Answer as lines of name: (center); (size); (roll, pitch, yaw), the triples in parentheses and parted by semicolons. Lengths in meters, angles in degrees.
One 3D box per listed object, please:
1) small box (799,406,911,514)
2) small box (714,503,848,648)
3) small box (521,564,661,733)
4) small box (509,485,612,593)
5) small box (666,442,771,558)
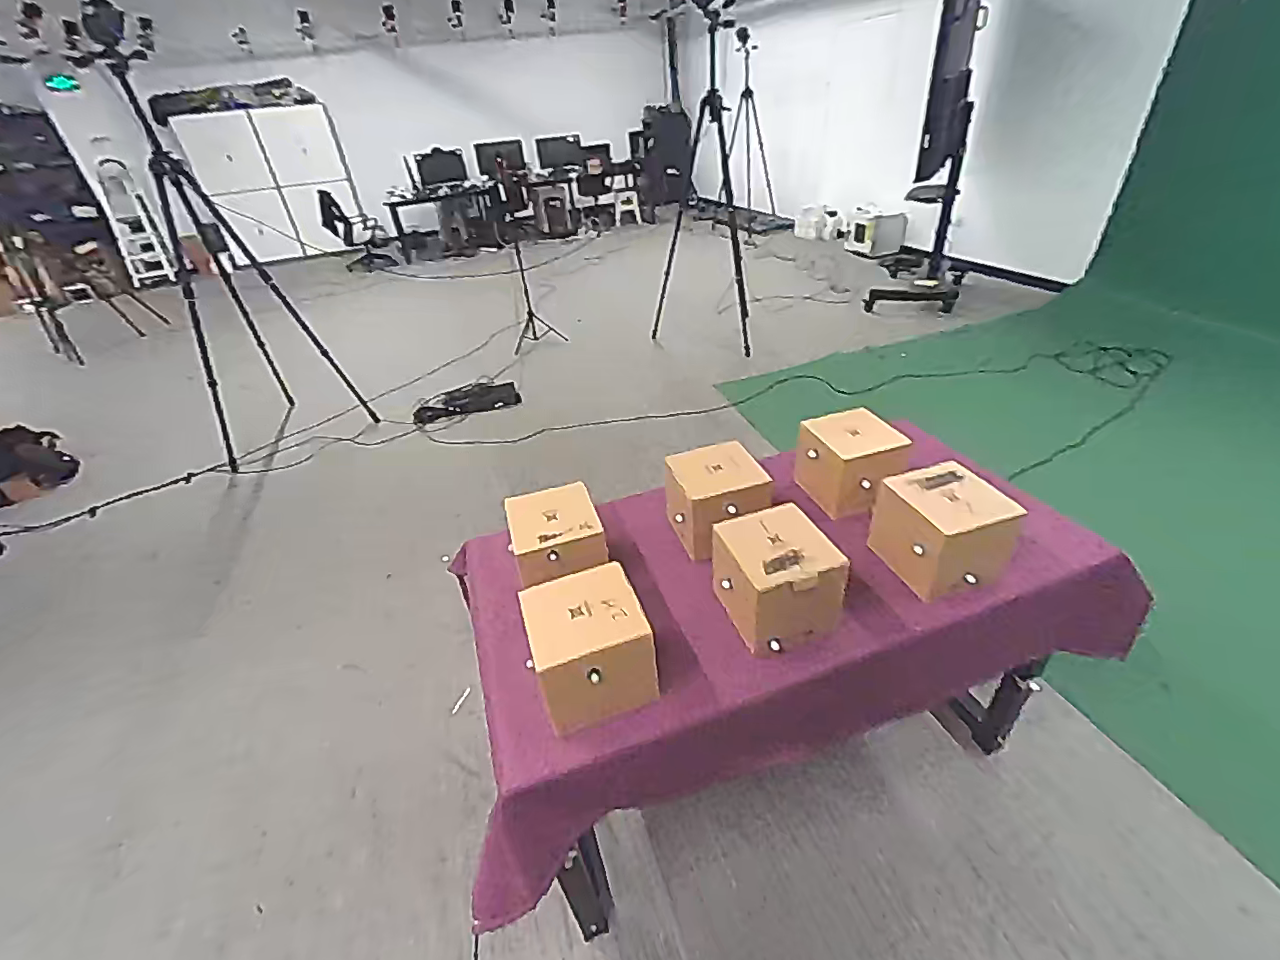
small box: (0.477, -0.041, 1.224); (0.168, 0.176, 0.179); (-14, 35, -10)
small box: (0.242, 0.173, 0.959); (0.168, 0.176, 0.179); (-15, 34, -11)
small box: (-0.078, 0.272, 0.874); (0.179, 0.176, 0.168); (-16, 36, -13)
small box: (-0.157, 0.138, 1.080); (0.168, 0.176, 0.179); (-15, 35, -12)
small box: (0.166, 0.044, 1.159); (0.179, 0.176, 0.168); (-14, 36, -10)
